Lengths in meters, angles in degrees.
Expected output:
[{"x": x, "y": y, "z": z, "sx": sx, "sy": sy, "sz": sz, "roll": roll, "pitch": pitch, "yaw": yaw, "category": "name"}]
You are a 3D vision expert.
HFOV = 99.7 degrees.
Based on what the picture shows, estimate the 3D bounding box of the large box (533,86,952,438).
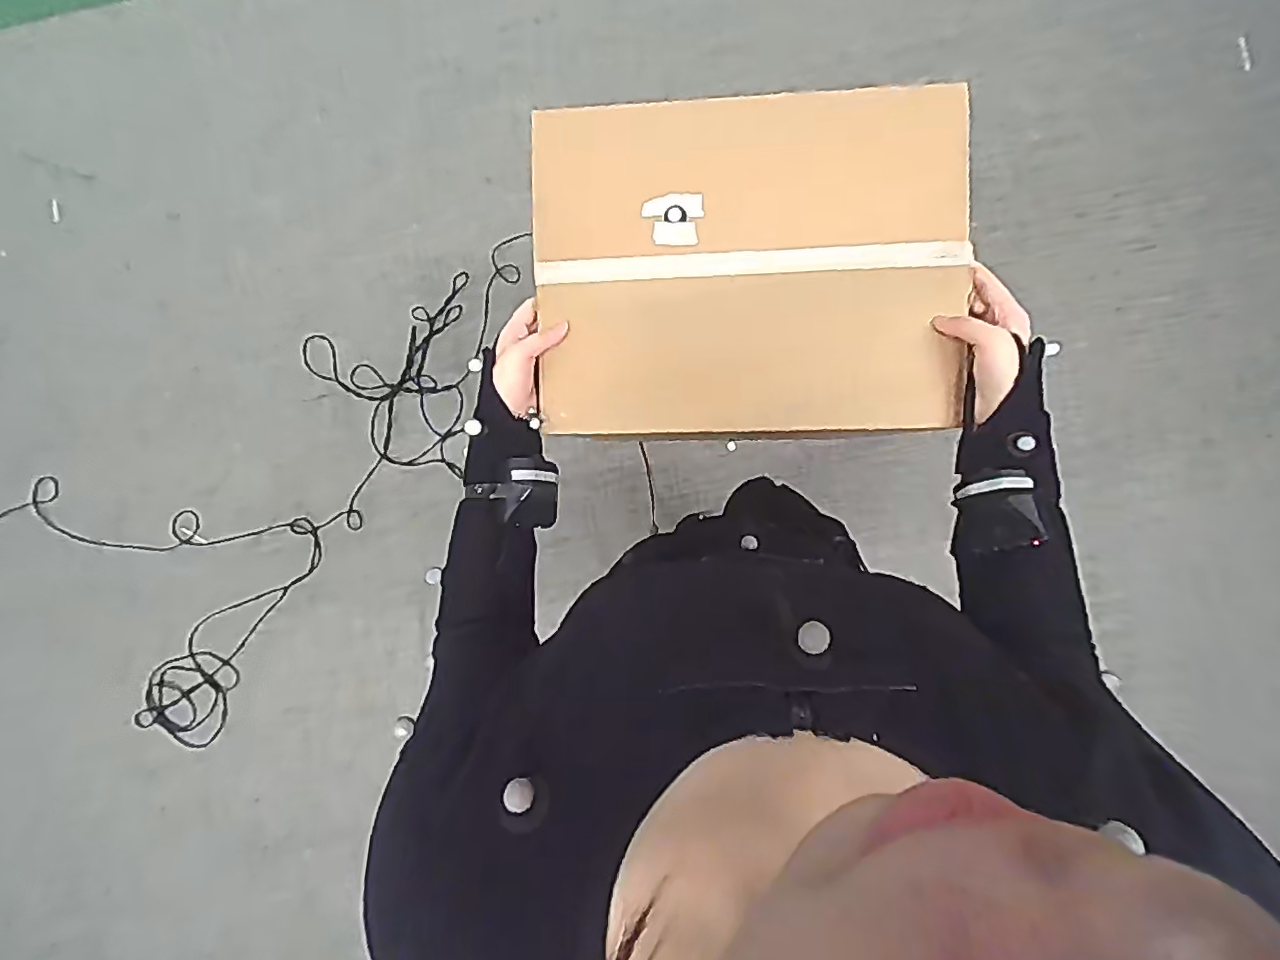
[{"x": 0.112, "y": -0.214, "z": 0.674, "sx": 0.408, "sy": 0.320, "sz": 0.320, "roll": -1, "pitch": 92, "yaw": 6, "category": "large box"}]
